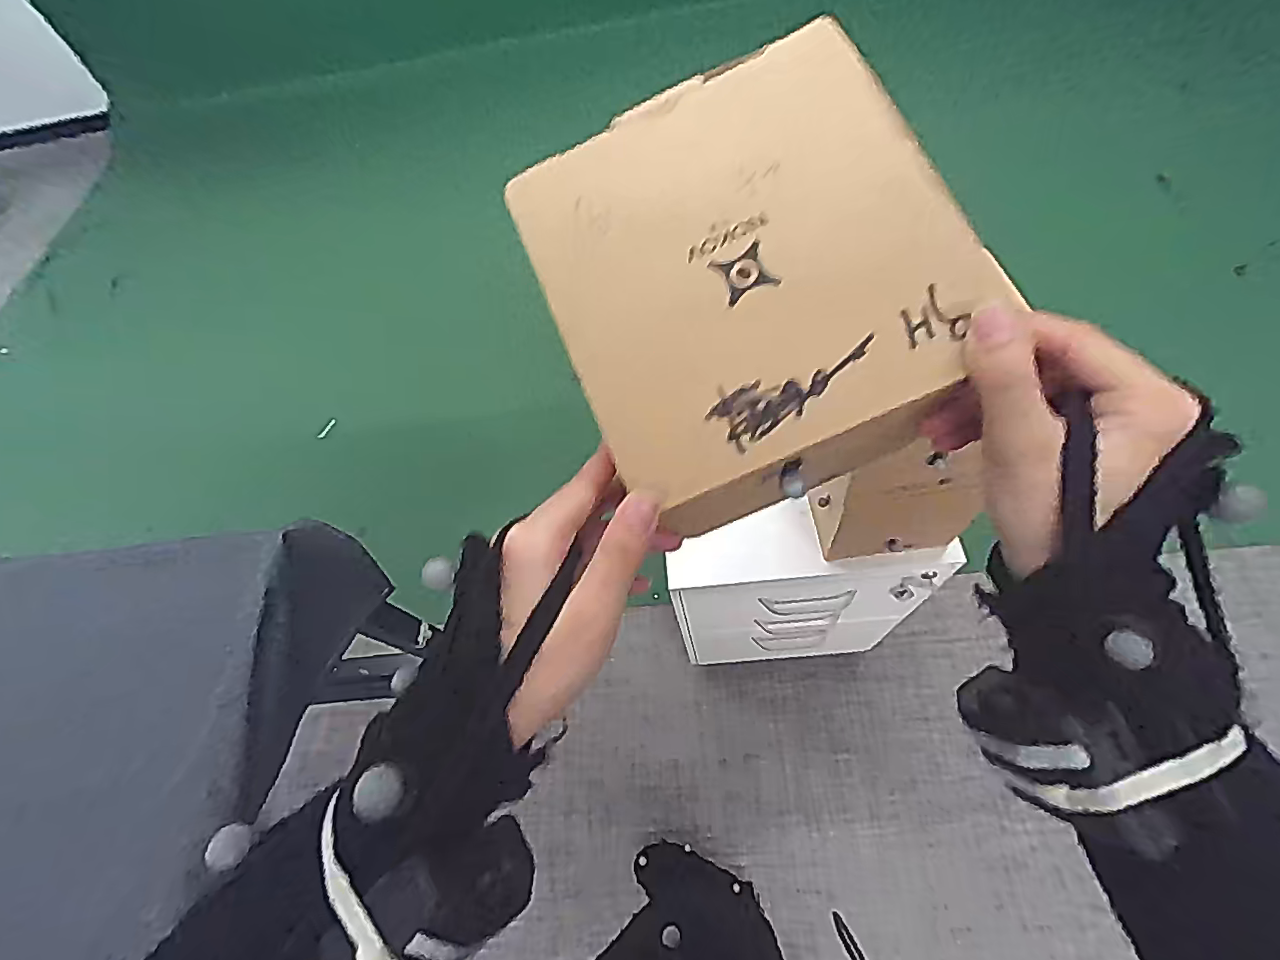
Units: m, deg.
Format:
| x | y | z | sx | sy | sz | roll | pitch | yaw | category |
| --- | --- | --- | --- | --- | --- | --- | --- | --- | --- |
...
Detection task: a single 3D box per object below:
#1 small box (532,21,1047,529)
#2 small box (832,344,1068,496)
| x | y | z | sx | sy | sz | roll | pitch | yaw | category |
| --- | --- | --- | --- | --- | --- | --- | --- | --- | --- |
| 0.064 | -0.085 | 0.308 | 0.168 | 0.176 | 0.179 | -23 | 77 | 6 | small box |
| 0.277 | -0.096 | 0.560 | 0.168 | 0.176 | 0.179 | -10 | 60 | 3 | small box |
